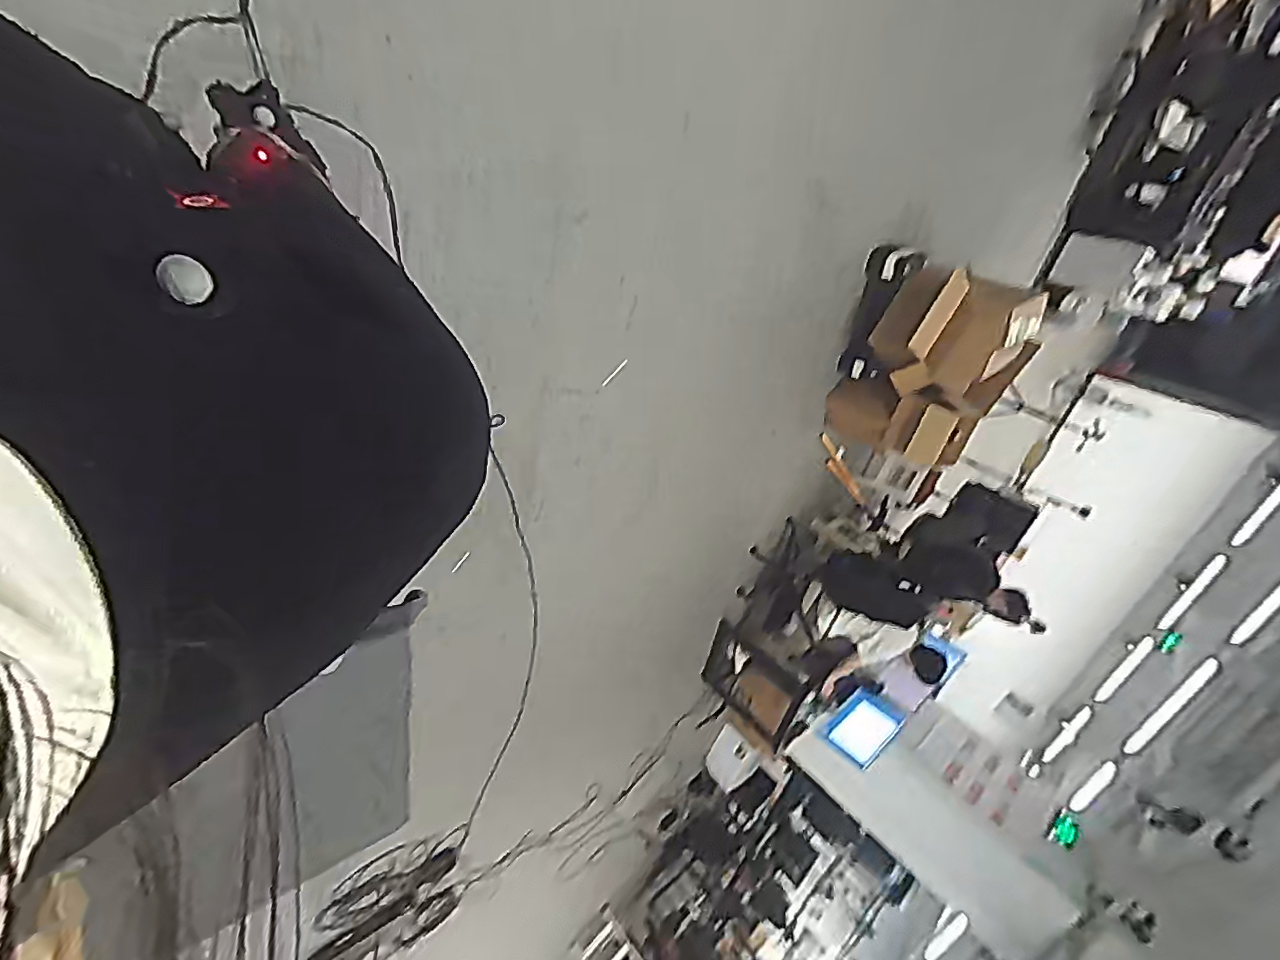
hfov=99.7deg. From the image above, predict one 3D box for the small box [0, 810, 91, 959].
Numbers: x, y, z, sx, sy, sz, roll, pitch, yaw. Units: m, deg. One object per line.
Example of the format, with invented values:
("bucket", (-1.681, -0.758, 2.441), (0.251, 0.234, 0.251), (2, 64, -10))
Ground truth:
("small box", (-0.791, 0.535, 0.639), (0.168, 0.176, 0.179), (-15, 129, -41))
